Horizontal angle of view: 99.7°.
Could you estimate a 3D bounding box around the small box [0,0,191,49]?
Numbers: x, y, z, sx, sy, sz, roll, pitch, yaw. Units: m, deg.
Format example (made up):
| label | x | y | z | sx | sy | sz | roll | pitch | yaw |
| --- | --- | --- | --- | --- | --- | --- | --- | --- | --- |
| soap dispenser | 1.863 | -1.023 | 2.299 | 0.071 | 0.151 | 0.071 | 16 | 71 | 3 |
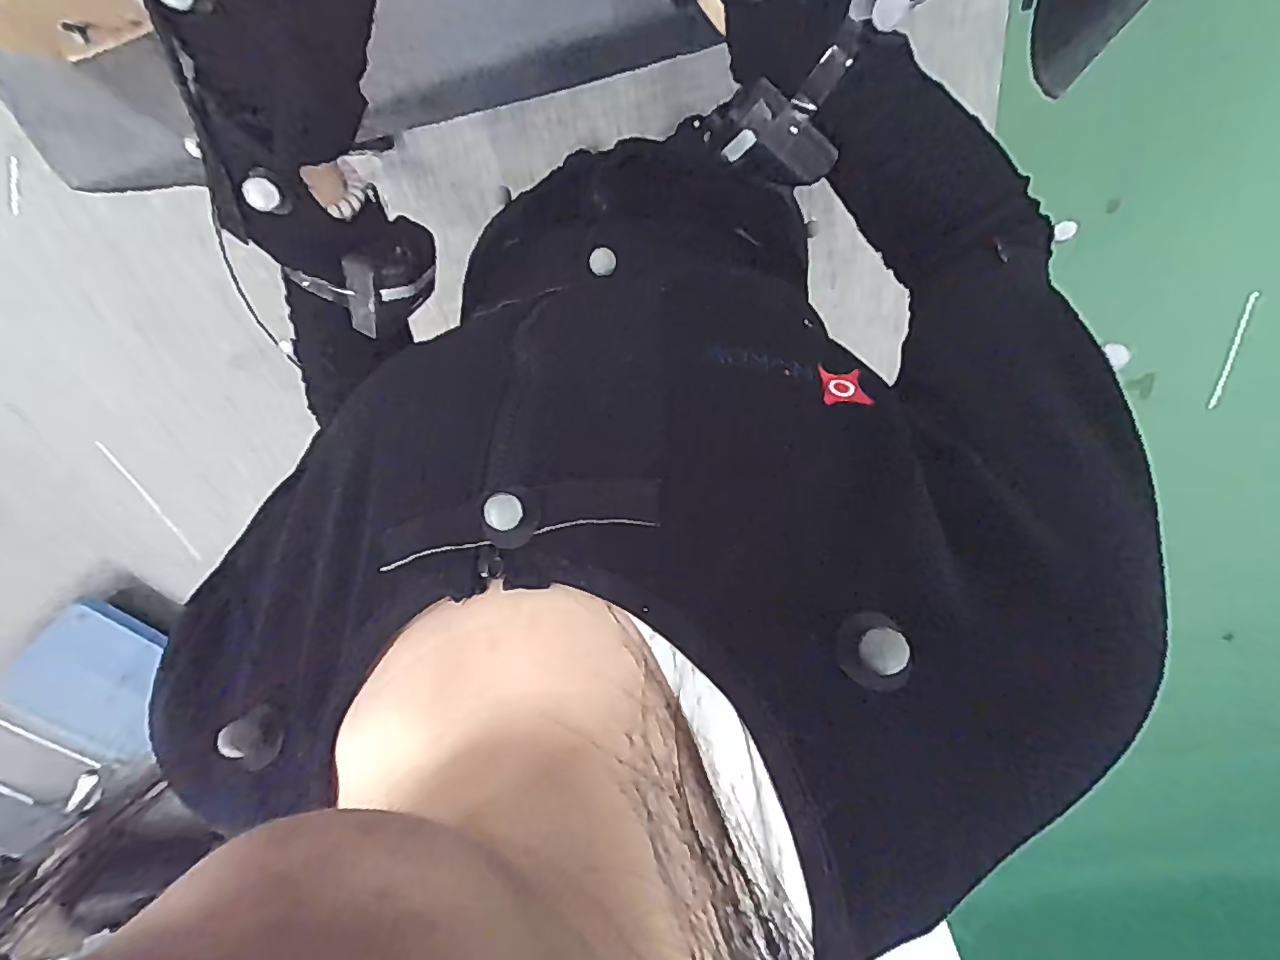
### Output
| label | x | y | z | sx | sy | sz | roll | pitch | yaw |
| --- | --- | --- | --- | --- | --- | --- | --- | --- | --- |
| small box | -0.521 | -0.473 | 0.418 | 0.168 | 0.176 | 0.179 | -12 | 121 | 8 |
